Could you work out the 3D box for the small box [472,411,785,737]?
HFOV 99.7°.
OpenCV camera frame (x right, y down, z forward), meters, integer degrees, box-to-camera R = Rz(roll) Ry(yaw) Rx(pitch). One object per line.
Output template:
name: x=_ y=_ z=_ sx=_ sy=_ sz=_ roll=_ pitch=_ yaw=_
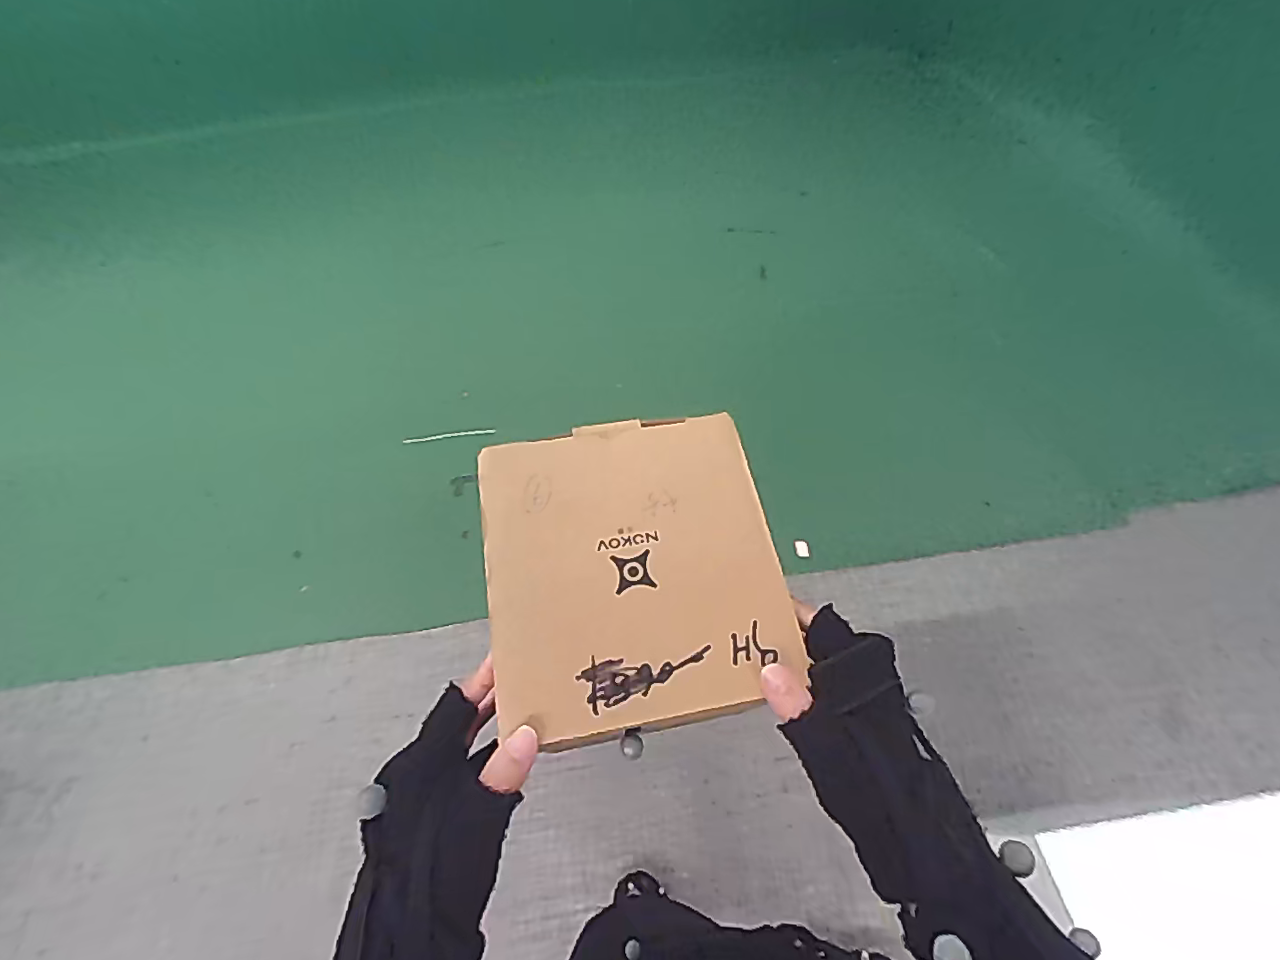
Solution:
small box: x=-0.018 y=0.076 z=0.393 sx=0.168 sy=0.176 sz=0.179 roll=-9 pitch=64 yaw=-6
